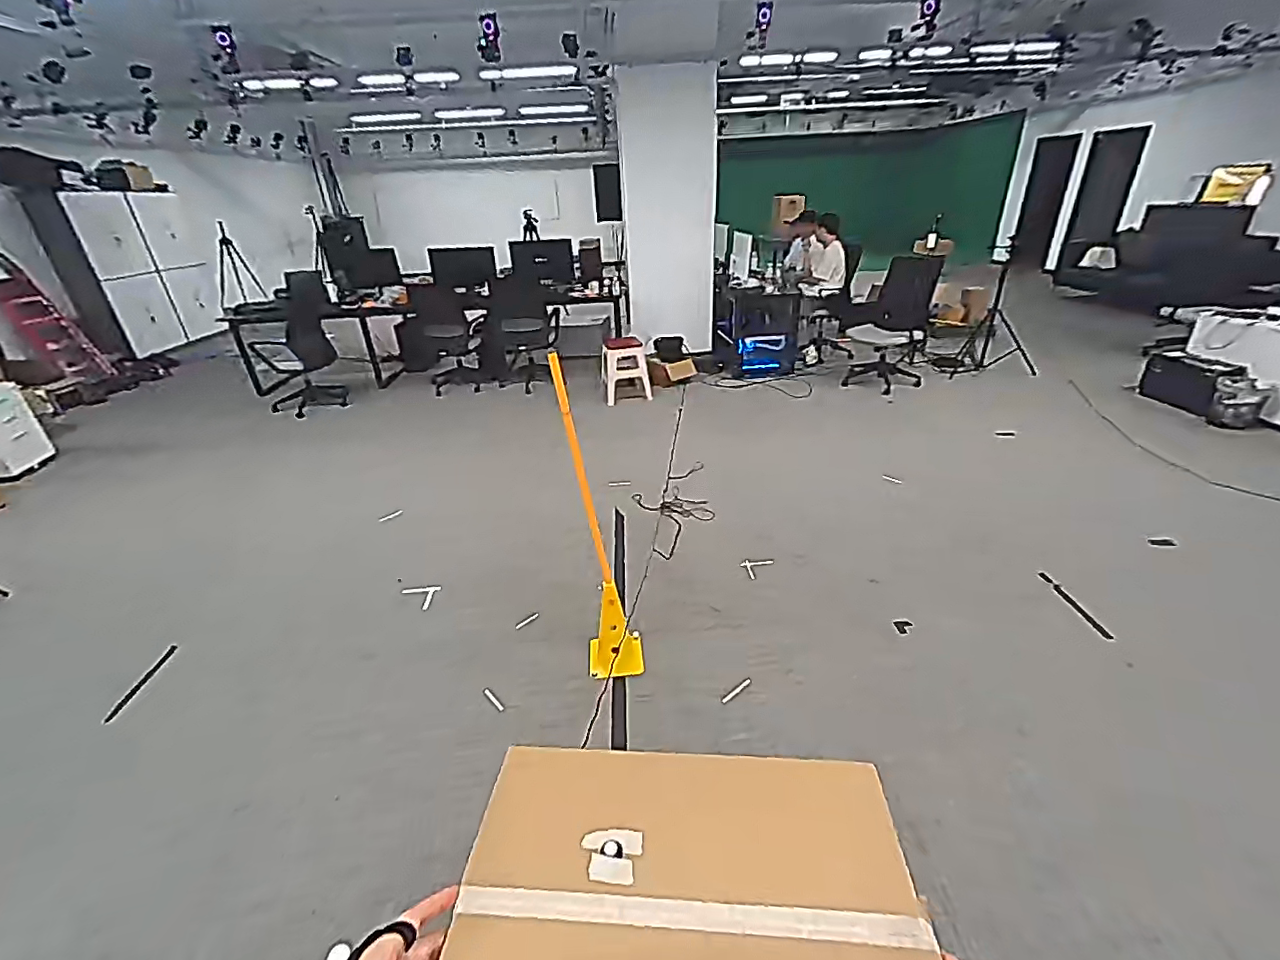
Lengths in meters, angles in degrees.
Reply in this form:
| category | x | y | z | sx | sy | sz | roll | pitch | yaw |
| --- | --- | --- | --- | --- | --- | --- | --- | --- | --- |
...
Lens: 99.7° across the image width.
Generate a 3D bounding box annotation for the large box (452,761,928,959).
| category | x | y | z | sx | sy | sz | roll | pitch | yaw |
| --- | --- | --- | --- | --- | --- | --- | --- | --- | --- |
| large box | 0.052 | 0.519 | 0.541 | 0.408 | 0.320 | 0.320 | -2 | 26 | 6 |
